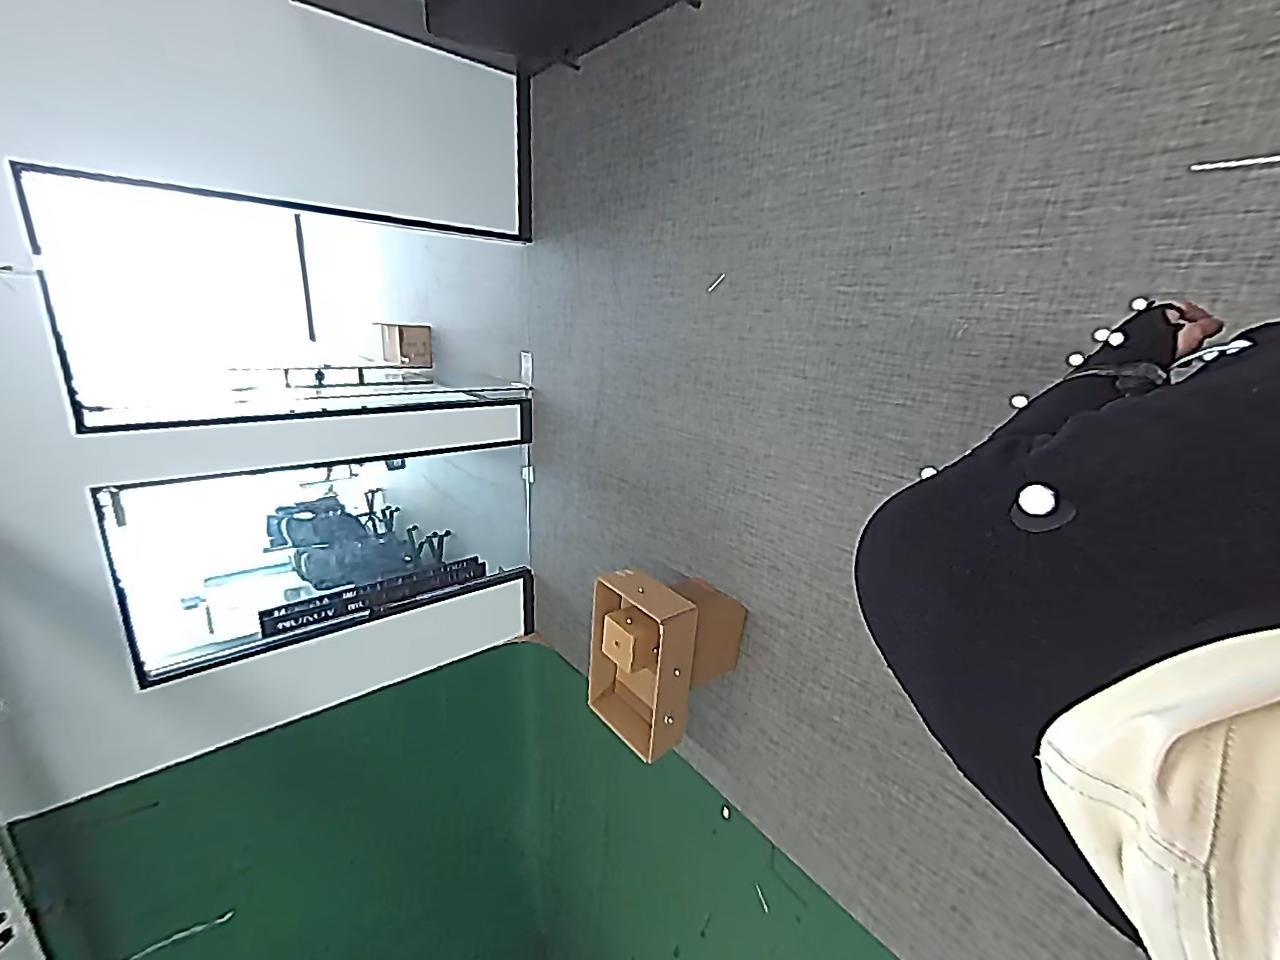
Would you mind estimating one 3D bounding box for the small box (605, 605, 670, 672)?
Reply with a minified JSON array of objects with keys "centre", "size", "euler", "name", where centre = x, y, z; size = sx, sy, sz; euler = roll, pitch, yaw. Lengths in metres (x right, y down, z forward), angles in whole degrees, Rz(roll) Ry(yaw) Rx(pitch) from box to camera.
[{"centre":[-0.013,0.592,2.056],"size":[0.179,0.176,0.168],"euler":[24,116,45],"name":"small box"}]
